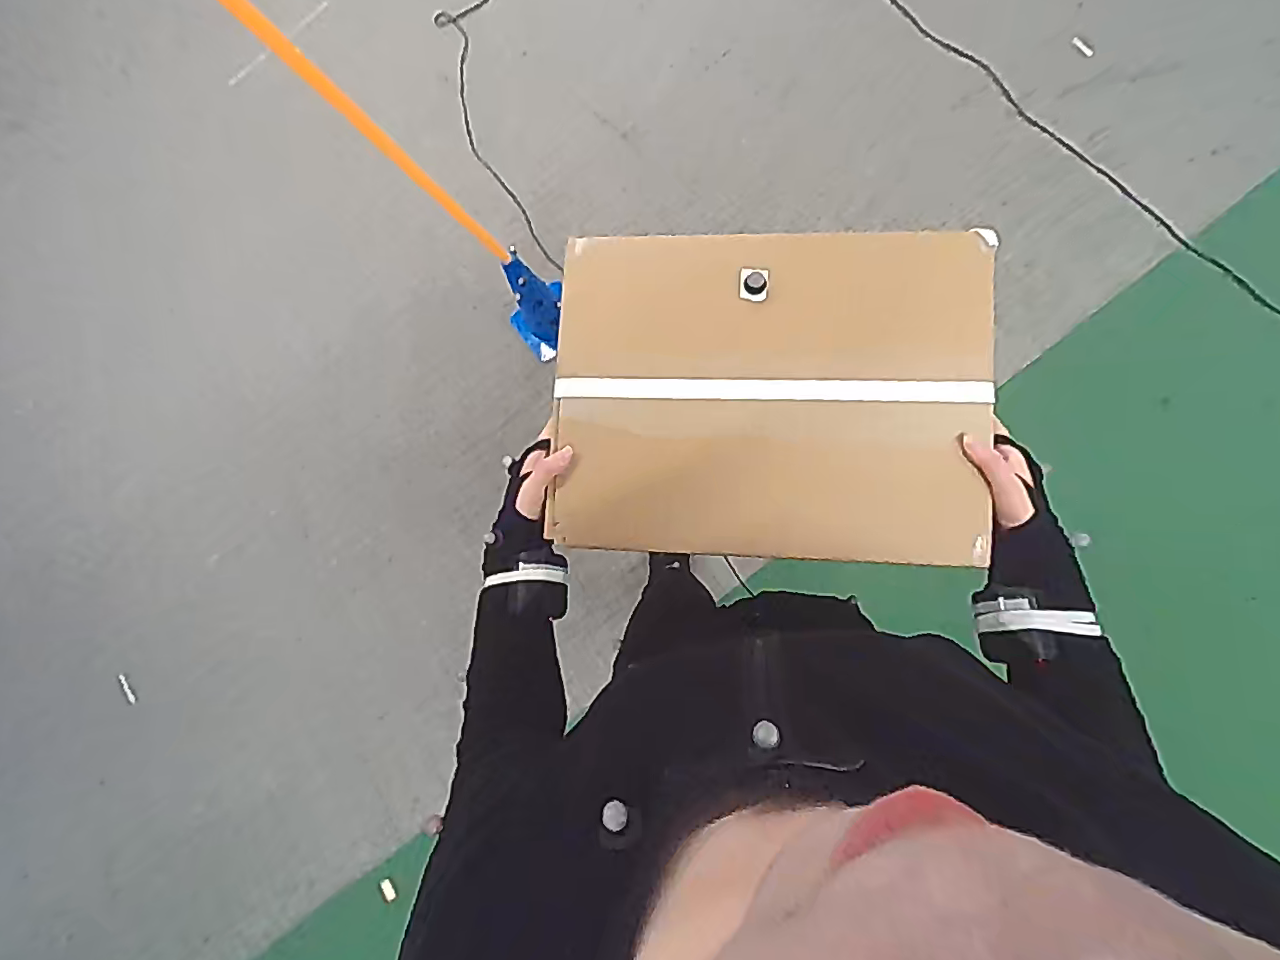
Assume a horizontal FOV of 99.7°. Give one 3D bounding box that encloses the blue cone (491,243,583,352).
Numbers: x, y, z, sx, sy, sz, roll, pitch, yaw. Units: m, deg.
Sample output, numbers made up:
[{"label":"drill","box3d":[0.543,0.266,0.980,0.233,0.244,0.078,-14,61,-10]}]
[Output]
[{"label":"blue cone","box3d":[-0.307,-0.520,1.472,0.193,0.380,0.192,-41,79,2]}]
